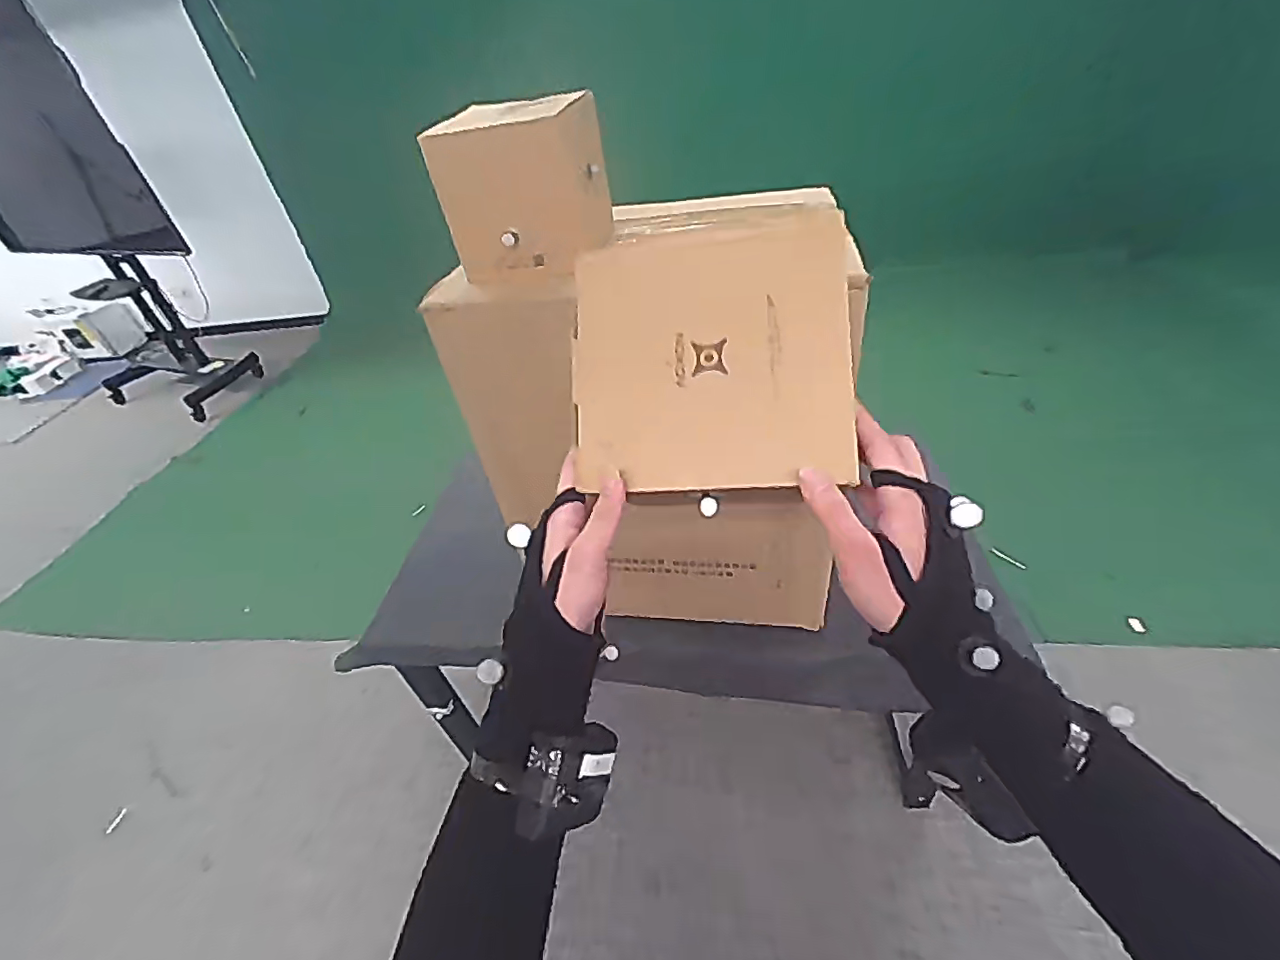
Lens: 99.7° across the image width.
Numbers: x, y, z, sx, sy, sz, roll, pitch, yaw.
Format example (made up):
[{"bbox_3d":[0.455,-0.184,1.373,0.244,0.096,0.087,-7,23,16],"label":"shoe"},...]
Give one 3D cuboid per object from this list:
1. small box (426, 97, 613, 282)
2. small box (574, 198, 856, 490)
[{"bbox_3d":[-0.138,-0.373,0.700,0.168,0.176,0.179,0,43,12],"label":"small box"},{"bbox_3d":[0.061,-0.080,0.418,0.179,0.168,0.176,-3,-4,14],"label":"small box"}]
